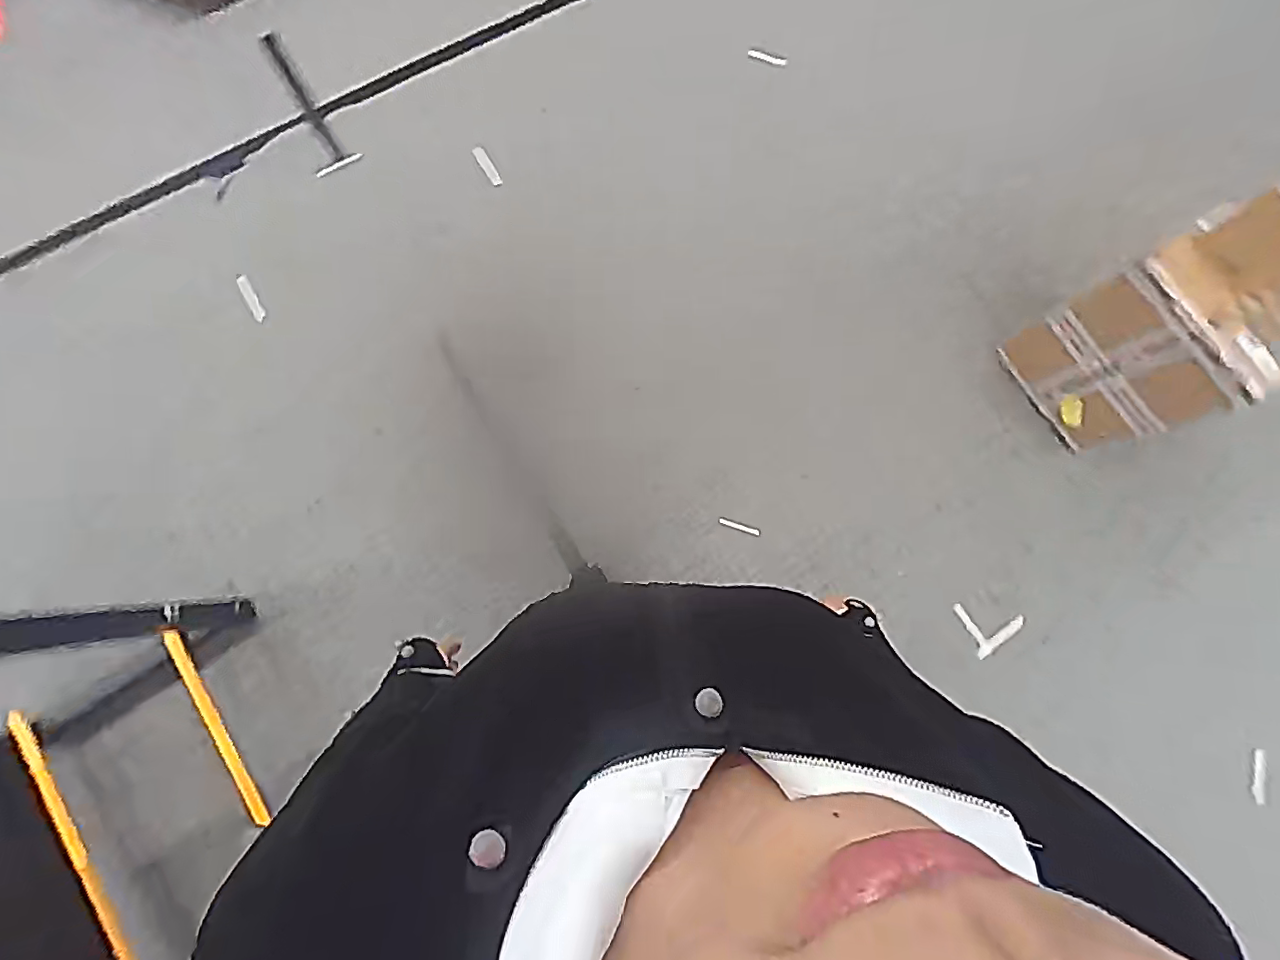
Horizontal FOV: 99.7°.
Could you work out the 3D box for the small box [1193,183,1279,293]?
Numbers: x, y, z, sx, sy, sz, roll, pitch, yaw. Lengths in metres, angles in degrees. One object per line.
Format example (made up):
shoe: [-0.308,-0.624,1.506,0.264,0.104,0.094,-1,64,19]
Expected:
small box: [1.356,-0.534,1.141,0.179,0.176,0.168,-31,81,-6]
